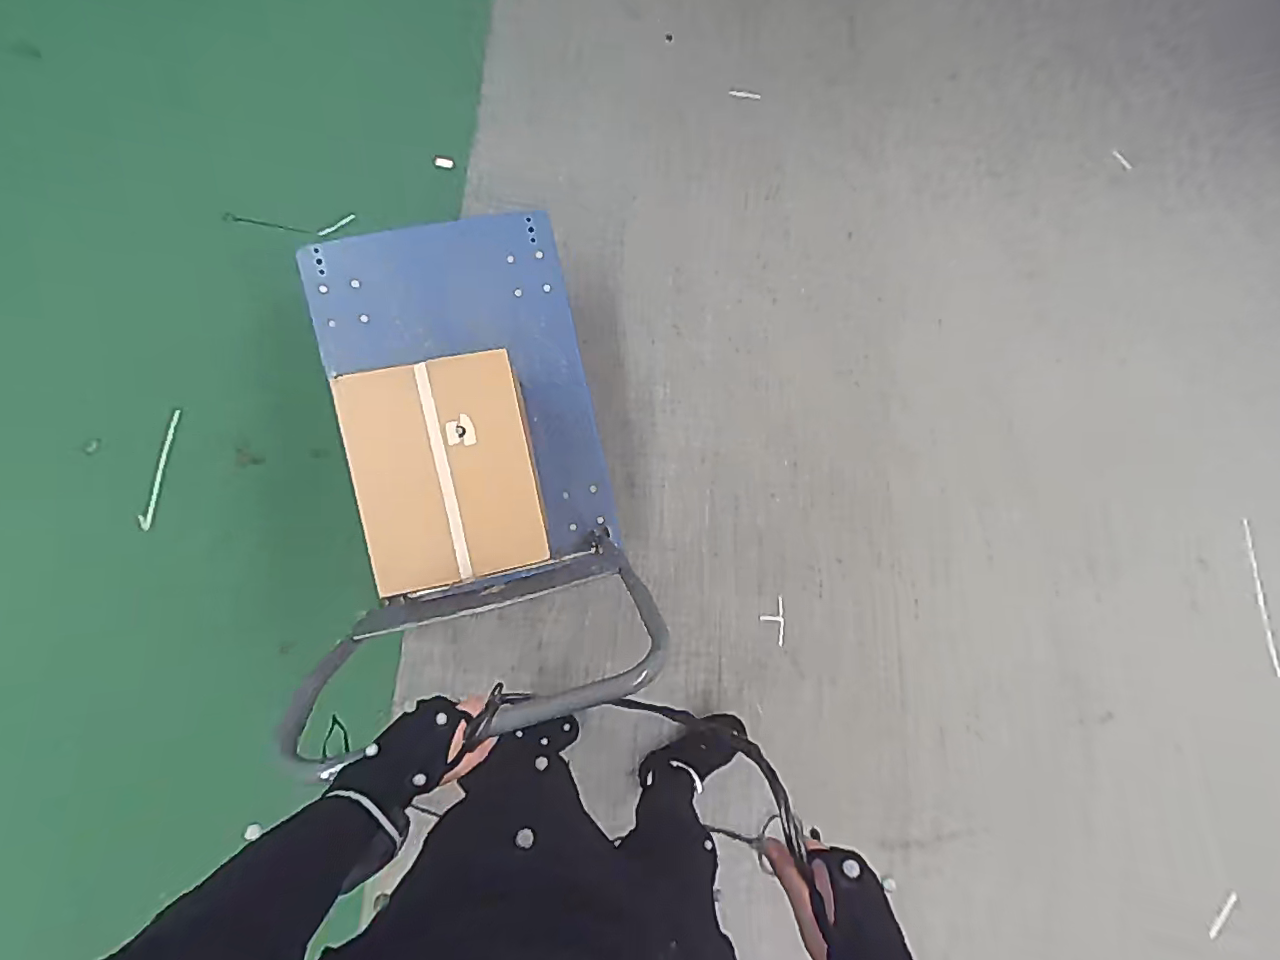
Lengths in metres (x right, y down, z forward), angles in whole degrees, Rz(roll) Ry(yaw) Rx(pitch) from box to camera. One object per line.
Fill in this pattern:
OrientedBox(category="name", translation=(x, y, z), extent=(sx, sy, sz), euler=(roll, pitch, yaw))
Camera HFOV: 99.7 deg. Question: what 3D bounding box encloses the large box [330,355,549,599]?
OrientedBox(category="large box", translation=(-0.384, -0.008, 1.133), extent=(0.320, 0.320, 0.408), euler=(-12, 92, -10))
